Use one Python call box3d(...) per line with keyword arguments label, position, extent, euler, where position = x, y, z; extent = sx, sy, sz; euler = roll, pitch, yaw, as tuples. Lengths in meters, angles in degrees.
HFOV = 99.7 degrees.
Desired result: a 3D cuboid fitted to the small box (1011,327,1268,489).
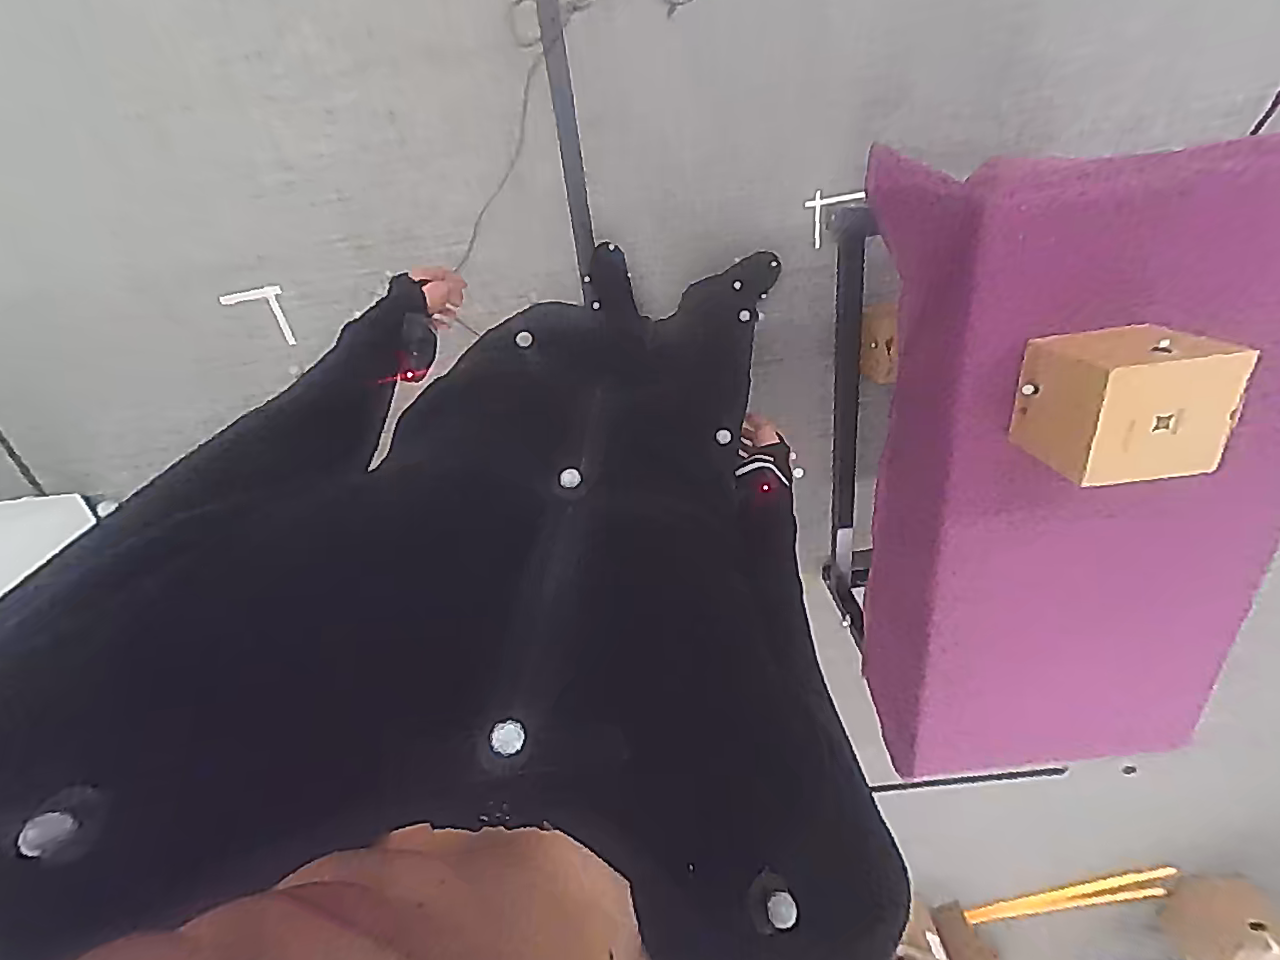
box3d(label="small box", position=(0.665, -0.106, 0.748), extent=(0.179, 0.176, 0.168), euler=(-6, 117, 4))
